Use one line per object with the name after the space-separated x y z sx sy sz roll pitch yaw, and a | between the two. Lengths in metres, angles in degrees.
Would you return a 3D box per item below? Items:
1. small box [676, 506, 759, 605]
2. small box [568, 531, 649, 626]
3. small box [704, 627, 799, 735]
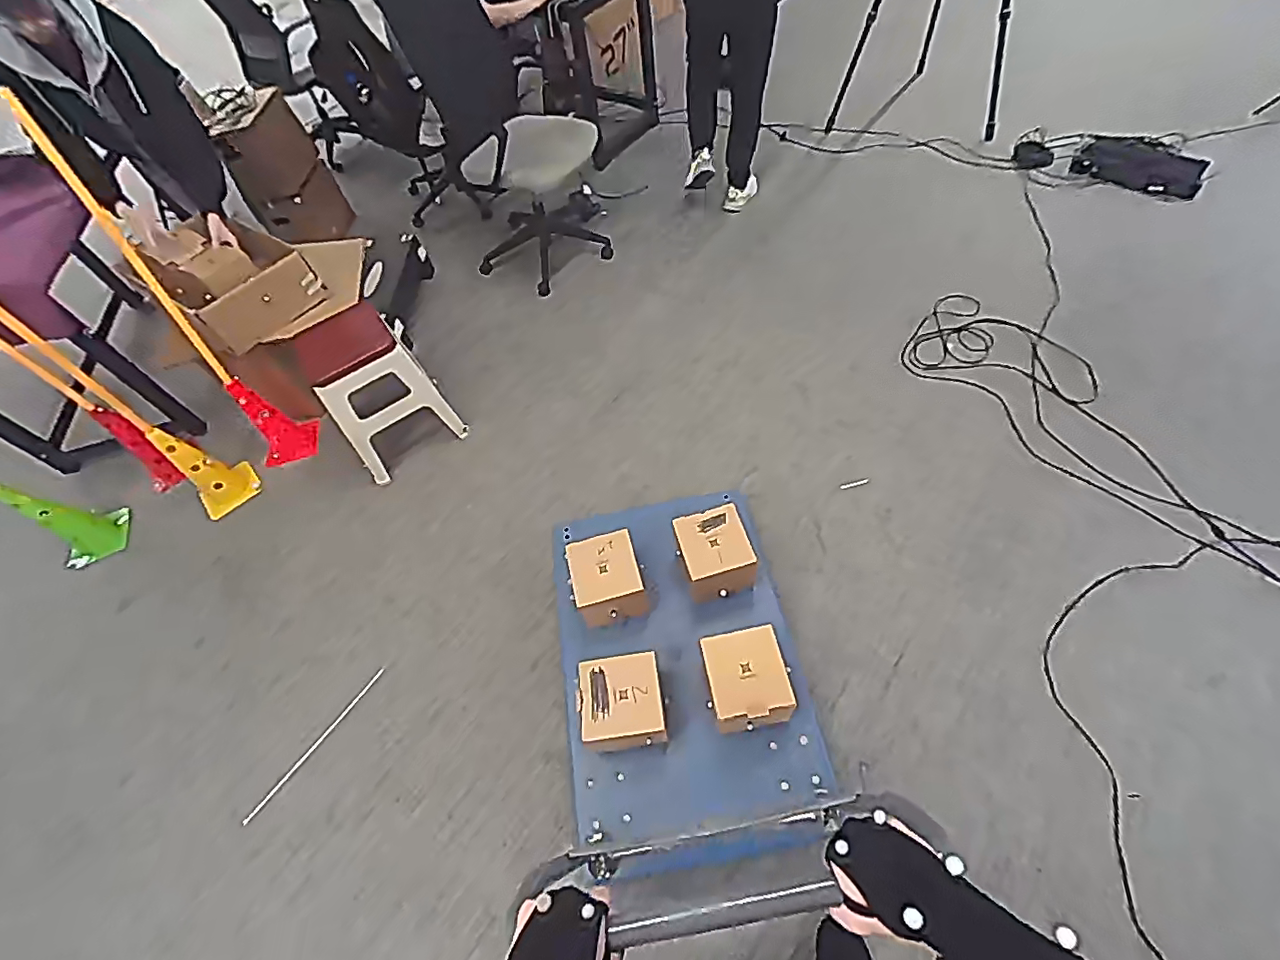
0.195 0.197 1.394 0.168 0.176 0.179 -16 57 -2 | small box
-0.077 0.261 1.387 0.168 0.176 0.179 -14 56 -3 | small box
0.240 0.456 1.218 0.168 0.176 0.179 -12 57 0 | small box
